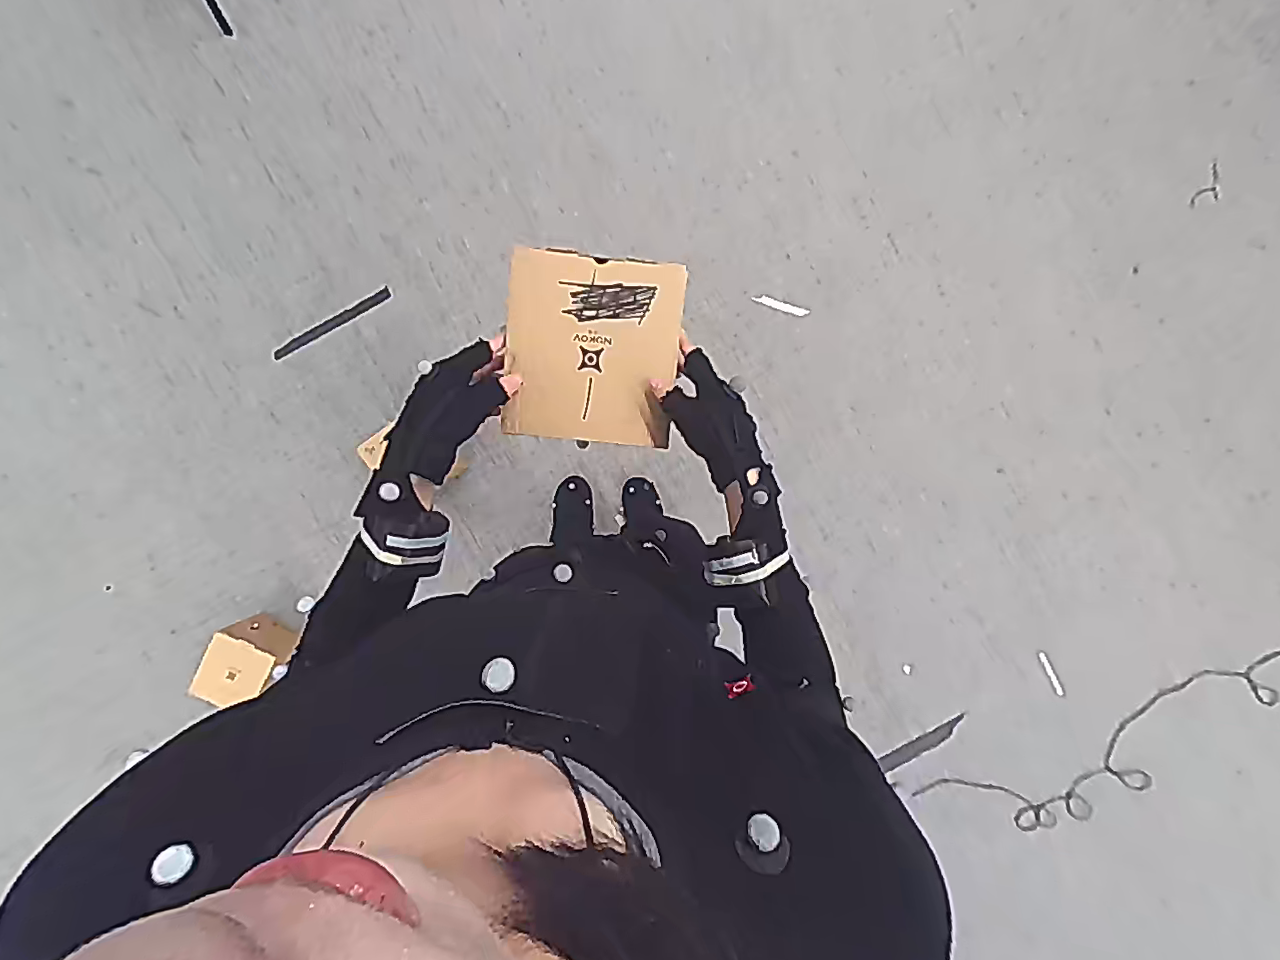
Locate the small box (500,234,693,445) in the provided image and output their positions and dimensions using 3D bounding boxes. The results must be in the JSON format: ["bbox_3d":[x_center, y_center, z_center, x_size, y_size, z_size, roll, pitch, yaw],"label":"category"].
[{"bbox_3d":[-0.047,-0.138,0.576,0.168,0.176,0.179,5,99,-5],"label":"small box"}]

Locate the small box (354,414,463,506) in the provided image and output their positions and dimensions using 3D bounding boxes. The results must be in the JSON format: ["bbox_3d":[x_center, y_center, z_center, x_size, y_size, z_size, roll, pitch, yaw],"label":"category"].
[{"bbox_3d":[-0.595,-0.054,1.417,0.168,0.176,0.179,-36,93,-1],"label":"small box"}]

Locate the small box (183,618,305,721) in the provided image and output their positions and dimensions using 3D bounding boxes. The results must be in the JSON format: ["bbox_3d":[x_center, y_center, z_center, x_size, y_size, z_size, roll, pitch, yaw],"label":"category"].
[{"bbox_3d":[-1.020,0.485,1.413,0.168,0.176,0.179,25,91,-1],"label":"small box"}]
